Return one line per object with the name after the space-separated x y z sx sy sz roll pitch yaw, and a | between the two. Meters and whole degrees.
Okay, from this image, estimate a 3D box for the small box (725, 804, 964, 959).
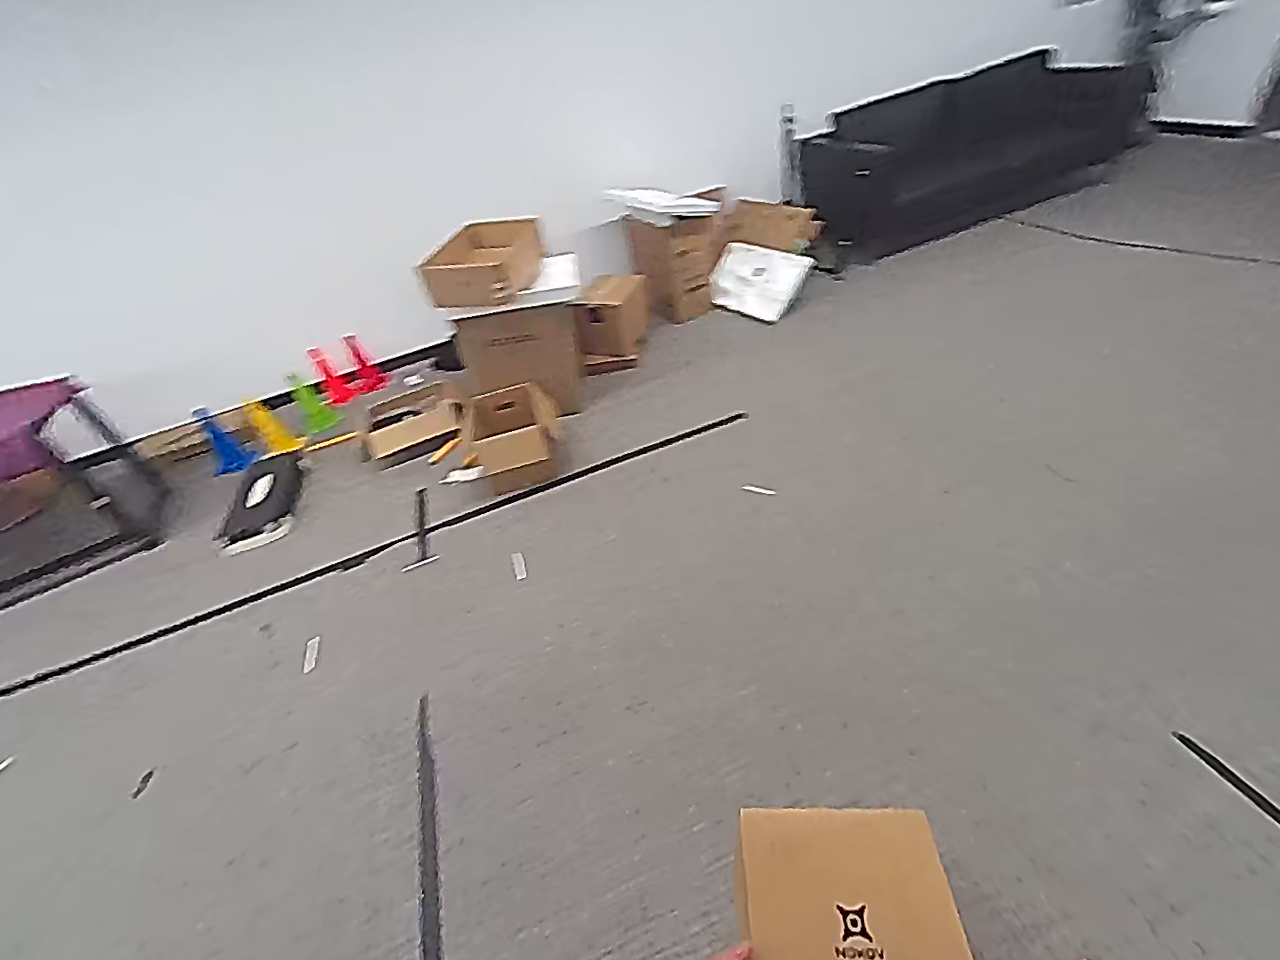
0.164 0.409 0.467 0.168 0.176 0.179 -4 39 4 | small box
